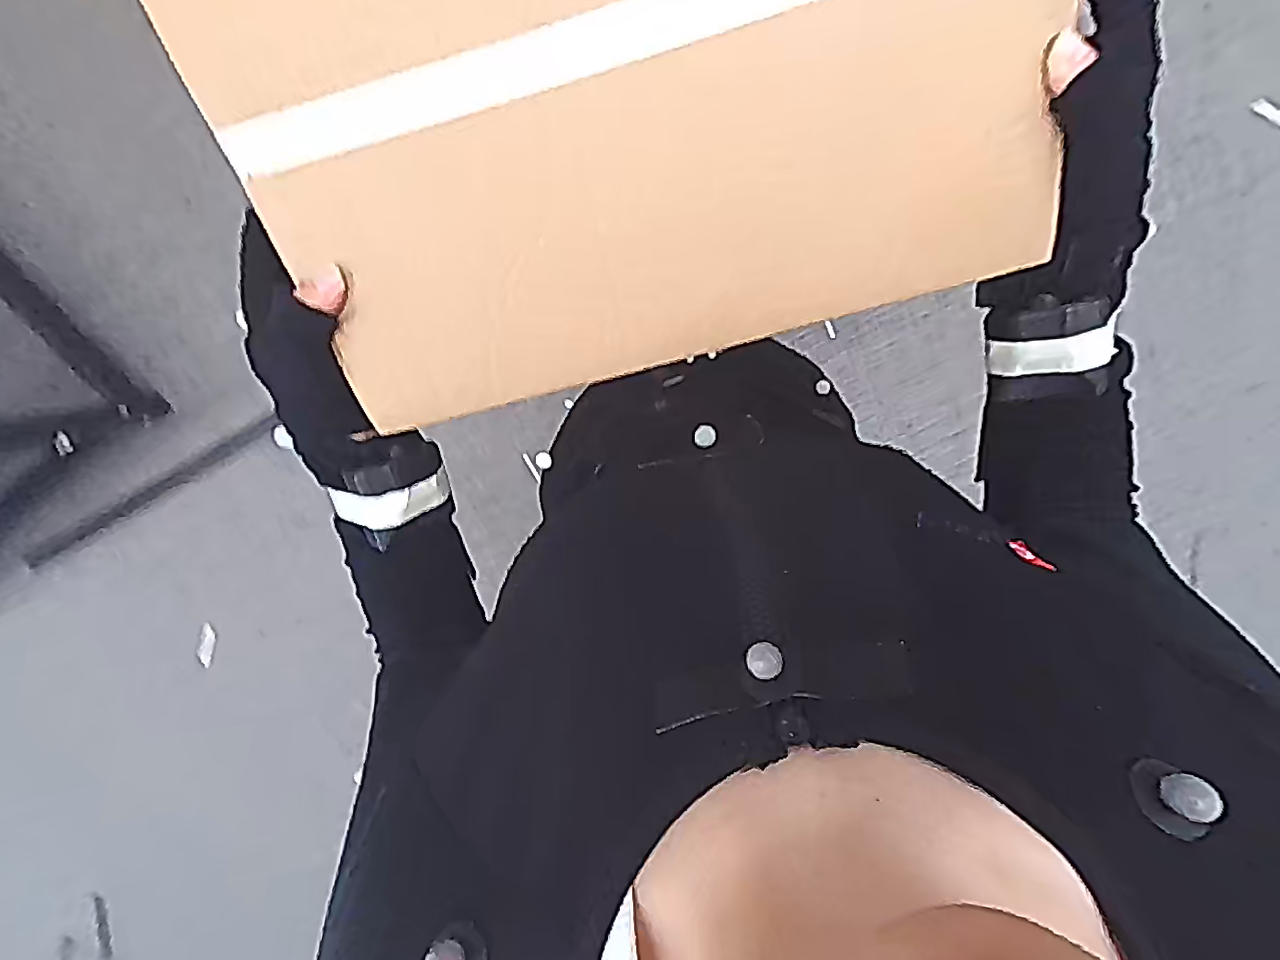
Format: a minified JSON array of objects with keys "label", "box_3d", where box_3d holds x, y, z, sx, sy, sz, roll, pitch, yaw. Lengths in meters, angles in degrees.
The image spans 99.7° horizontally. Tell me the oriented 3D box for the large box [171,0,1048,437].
[{"label":"large box","box_3d":[-0.007,-0.274,0.392,0.408,0.320,0.320,-13,118,5]}]
